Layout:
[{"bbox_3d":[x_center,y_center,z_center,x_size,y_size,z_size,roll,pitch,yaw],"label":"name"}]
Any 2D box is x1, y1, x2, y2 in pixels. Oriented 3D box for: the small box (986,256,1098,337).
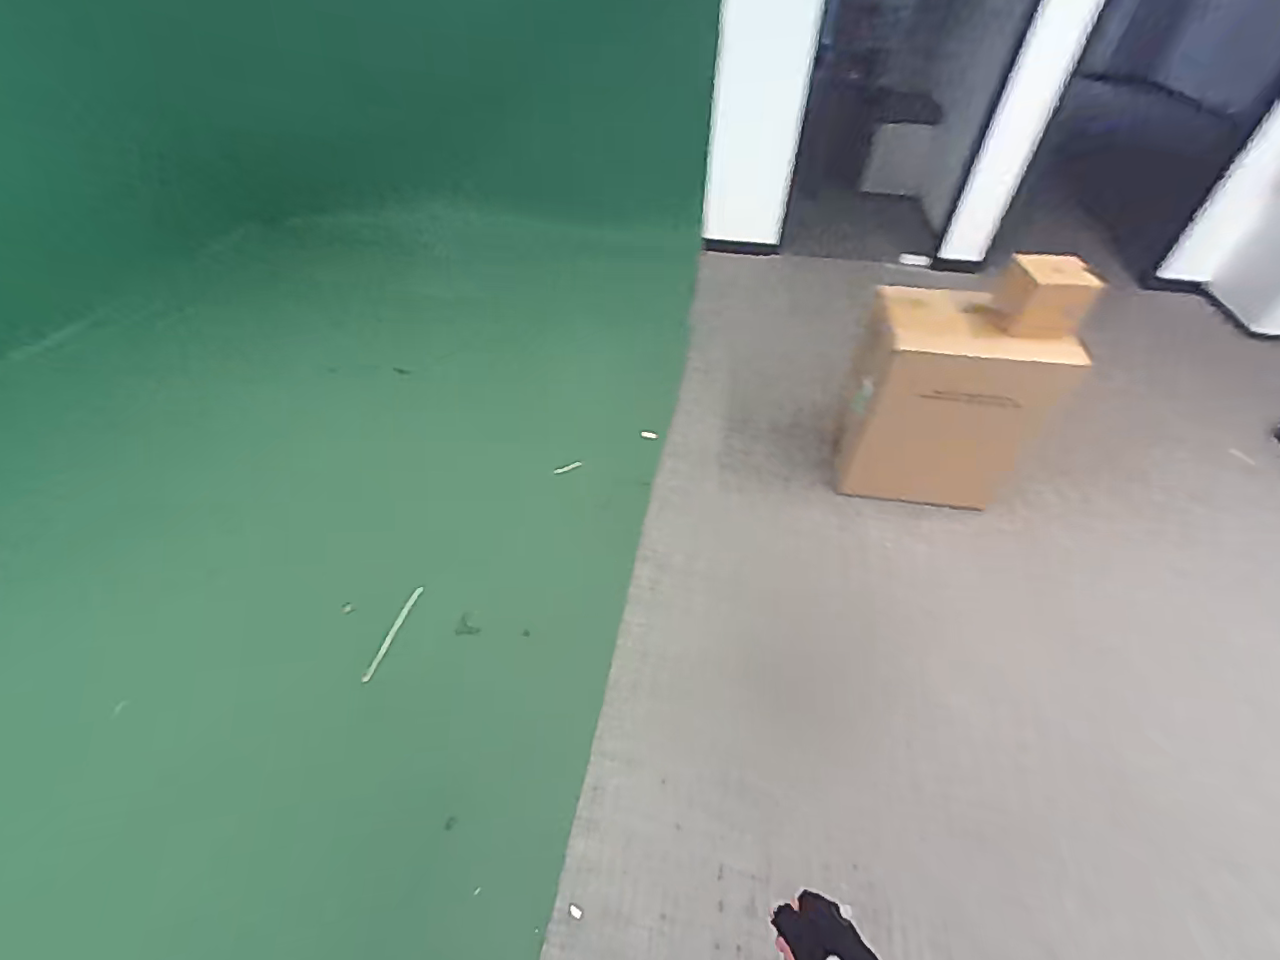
[{"bbox_3d":[1.161,-0.533,1.578,0.179,0.176,0.168,0,49,1],"label":"small box"}]
